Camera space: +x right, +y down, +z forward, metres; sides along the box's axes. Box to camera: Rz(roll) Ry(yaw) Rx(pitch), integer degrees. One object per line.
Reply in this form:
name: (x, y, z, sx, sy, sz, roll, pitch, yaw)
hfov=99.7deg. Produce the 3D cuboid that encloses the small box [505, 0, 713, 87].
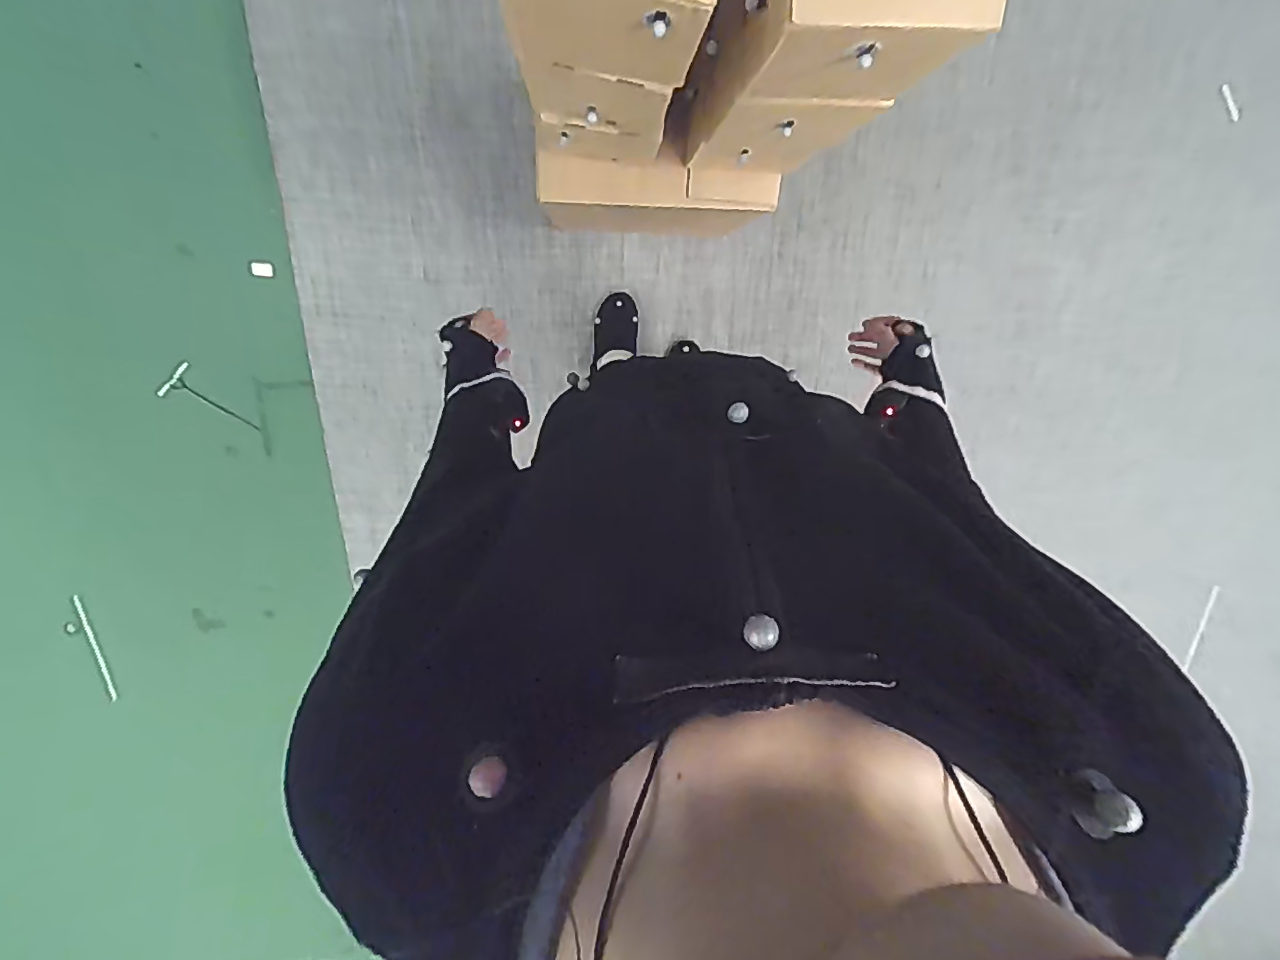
small box: (-0.025, -0.471, 0.463, 0.179, 0.176, 0.168, 5, 108, -7)

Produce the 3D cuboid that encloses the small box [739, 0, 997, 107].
small box: (0.192, -0.454, 0.482, 0.179, 0.176, 0.168, -1, 109, -4)
